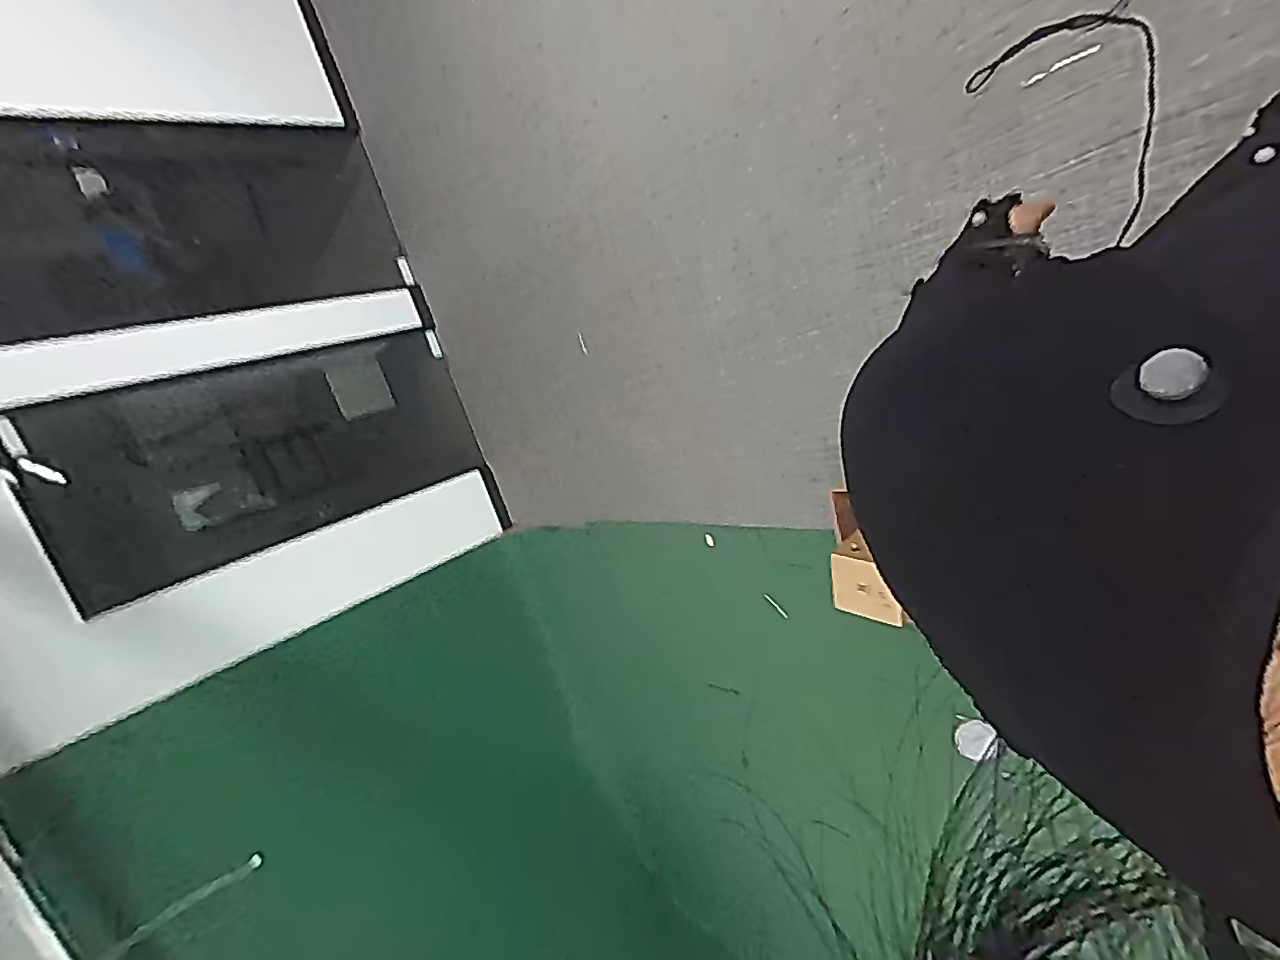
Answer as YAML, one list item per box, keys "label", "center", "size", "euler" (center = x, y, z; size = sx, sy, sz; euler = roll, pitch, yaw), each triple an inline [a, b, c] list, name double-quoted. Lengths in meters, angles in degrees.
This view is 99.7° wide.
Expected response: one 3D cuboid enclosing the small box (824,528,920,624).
- label: "small box"
  center: [0.599, 0.238, 1.395]
  size: [0.179, 0.176, 0.168]
  euler: [9, 117, 46]
